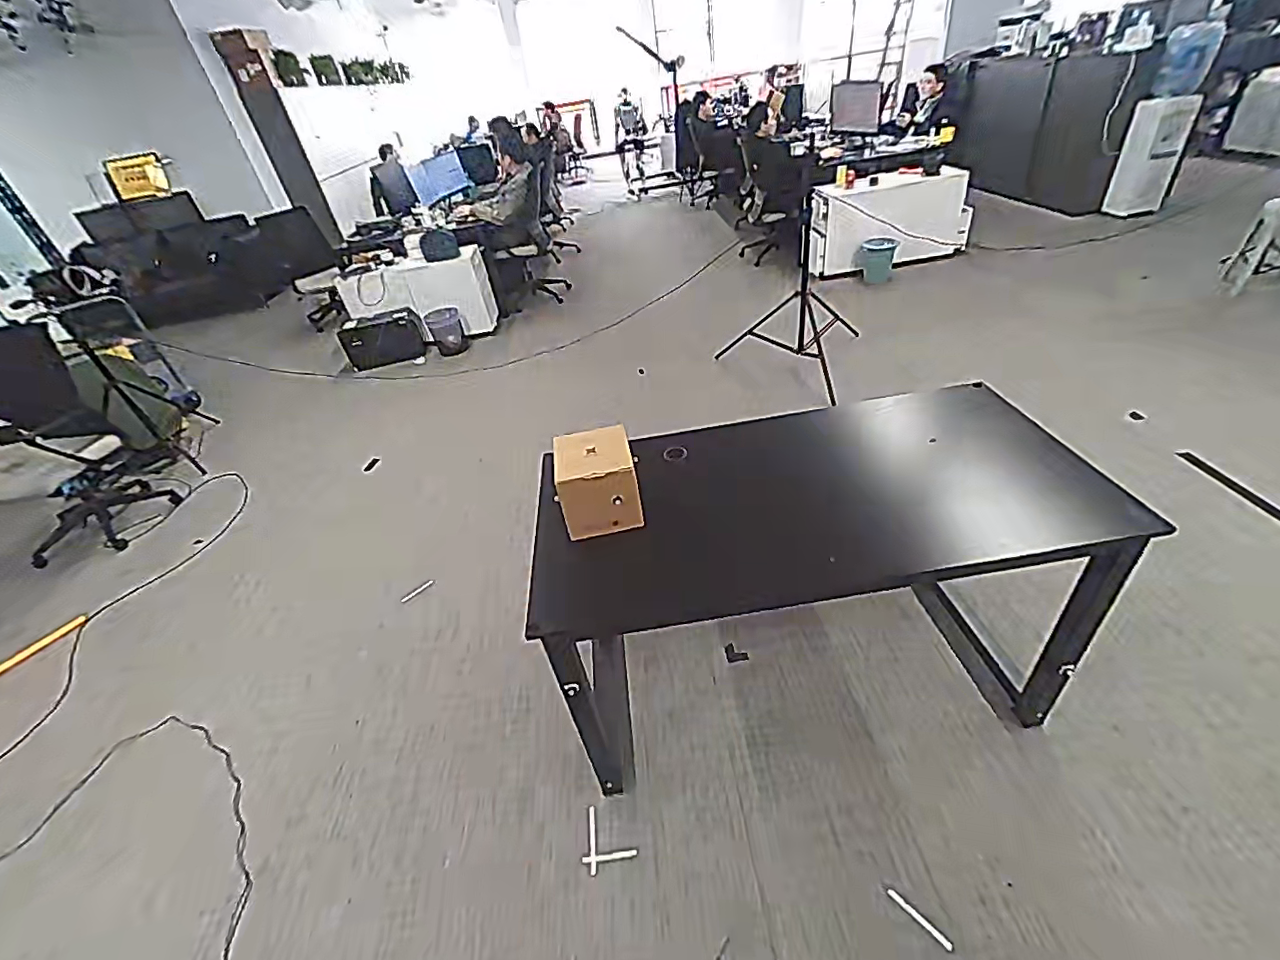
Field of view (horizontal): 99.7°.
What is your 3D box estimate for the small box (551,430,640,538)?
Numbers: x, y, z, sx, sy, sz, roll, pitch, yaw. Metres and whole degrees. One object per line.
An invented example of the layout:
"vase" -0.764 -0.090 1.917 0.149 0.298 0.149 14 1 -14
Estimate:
"small box" -0.100 0.015 1.216 0.168 0.176 0.179 -11 36 -4
